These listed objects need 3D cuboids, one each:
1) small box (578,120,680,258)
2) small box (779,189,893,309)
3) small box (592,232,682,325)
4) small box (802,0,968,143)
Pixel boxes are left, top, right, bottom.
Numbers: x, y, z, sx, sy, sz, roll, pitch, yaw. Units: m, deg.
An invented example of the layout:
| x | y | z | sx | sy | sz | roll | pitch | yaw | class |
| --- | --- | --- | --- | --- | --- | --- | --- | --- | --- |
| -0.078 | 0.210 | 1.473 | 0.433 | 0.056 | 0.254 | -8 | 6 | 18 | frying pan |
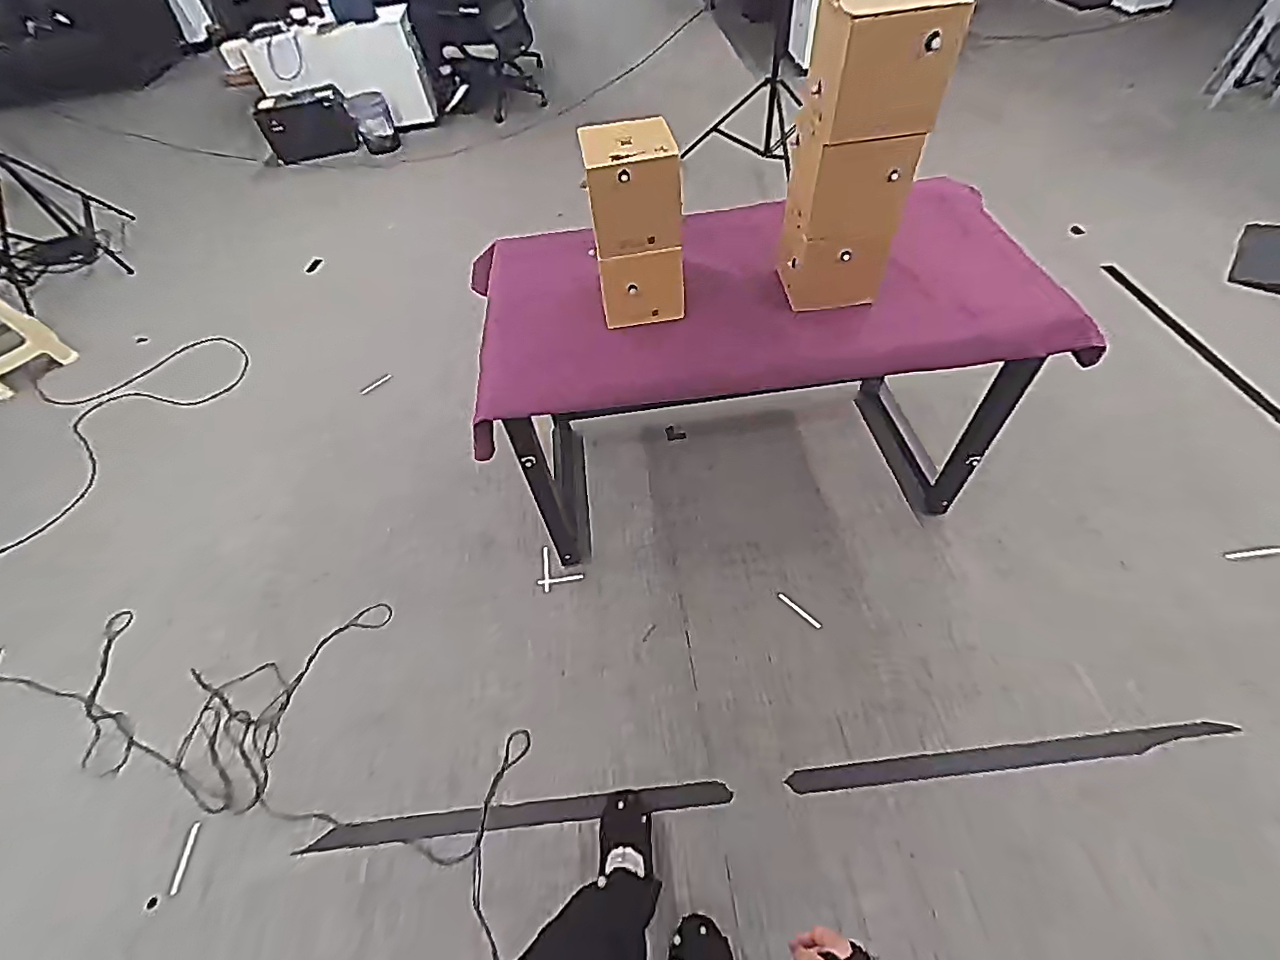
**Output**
| x | y | z | sx | sy | sz | roll | pitch | yaw | class |
| --- | --- | --- | --- | --- | --- | --- | --- | --- | --- |
| -0.020 | -0.553 | 1.032 | 0.168 | 0.176 | 0.179 | -11 | 52 | -1 | small box |
| 0.397 | -0.479 | 1.135 | 0.179 | 0.176 | 0.168 | -6 | 54 | 1 | small box |
| -0.006 | -0.449 | 1.158 | 0.168 | 0.176 | 0.179 | -9 | 52 | 0 | small box |
| 0.377 | -0.673 | 0.869 | 0.179 | 0.176 | 0.168 | -7 | 53 | 1 | small box |
